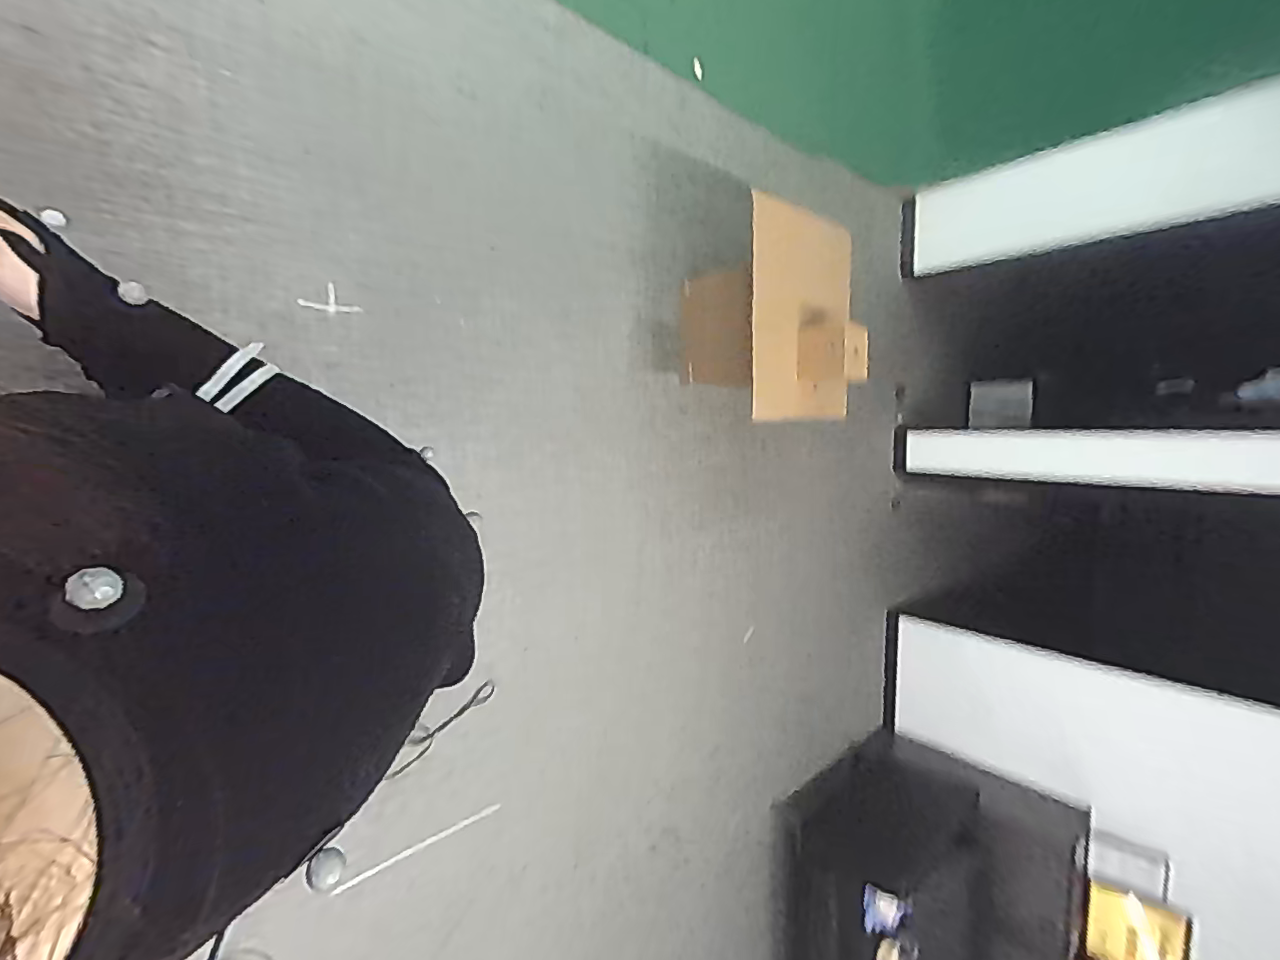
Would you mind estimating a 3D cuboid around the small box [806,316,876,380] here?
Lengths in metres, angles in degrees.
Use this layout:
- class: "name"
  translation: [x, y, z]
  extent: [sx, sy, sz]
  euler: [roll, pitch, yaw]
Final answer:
- class: "small box"
  translation: [0.676, -0.440, 1.823]
  extent: [0.168, 0.176, 0.179]
  euler: [-4, 95, -41]
